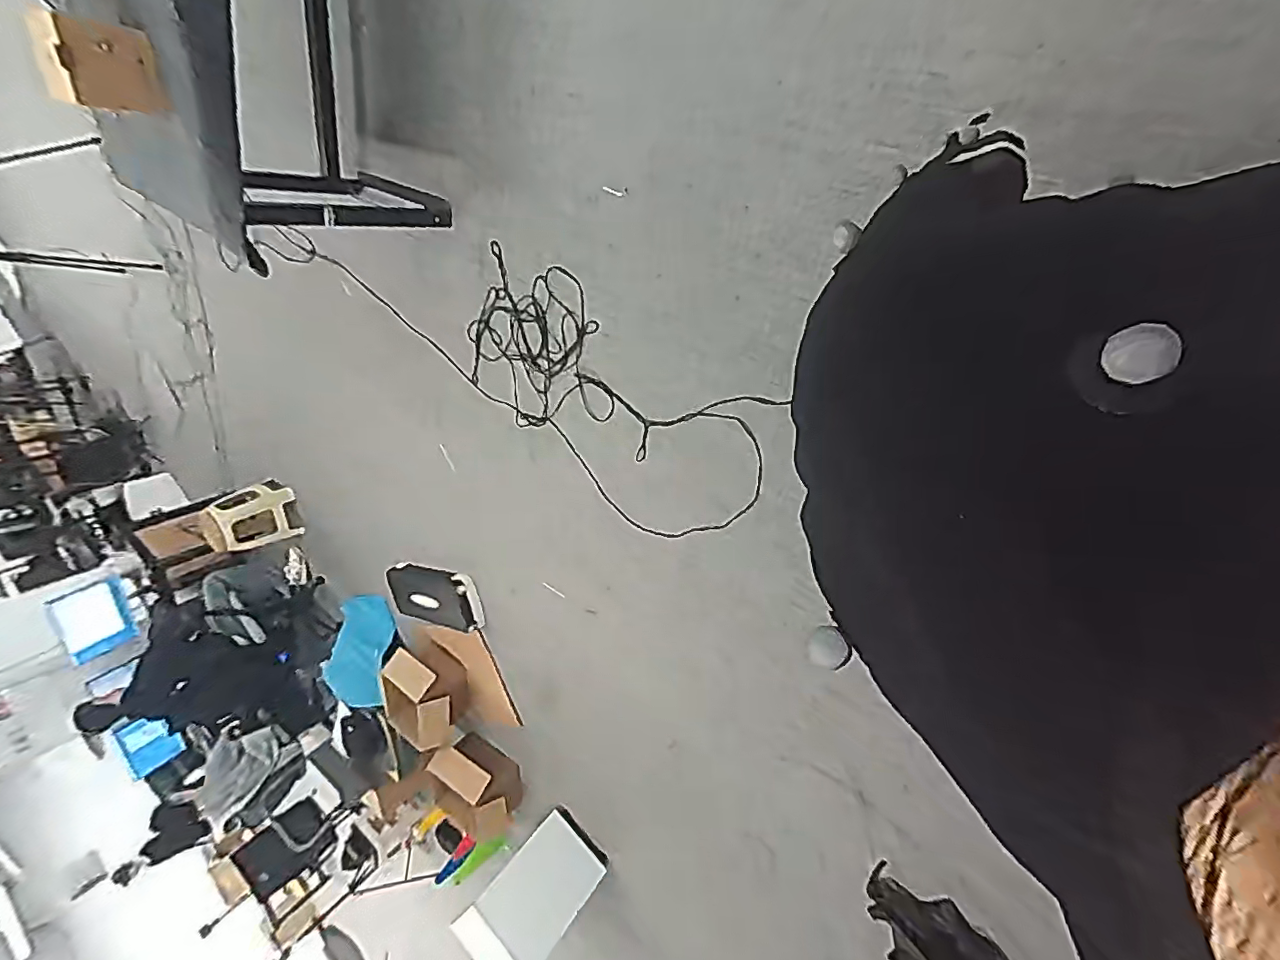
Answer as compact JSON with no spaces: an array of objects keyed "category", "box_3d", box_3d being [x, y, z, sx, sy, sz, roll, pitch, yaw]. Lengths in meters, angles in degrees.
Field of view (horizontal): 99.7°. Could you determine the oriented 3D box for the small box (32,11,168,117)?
[{"category":"small box","box_3d":[-1.240,-0.957,1.255,0.179,0.176,0.168,23,121,29]}]
